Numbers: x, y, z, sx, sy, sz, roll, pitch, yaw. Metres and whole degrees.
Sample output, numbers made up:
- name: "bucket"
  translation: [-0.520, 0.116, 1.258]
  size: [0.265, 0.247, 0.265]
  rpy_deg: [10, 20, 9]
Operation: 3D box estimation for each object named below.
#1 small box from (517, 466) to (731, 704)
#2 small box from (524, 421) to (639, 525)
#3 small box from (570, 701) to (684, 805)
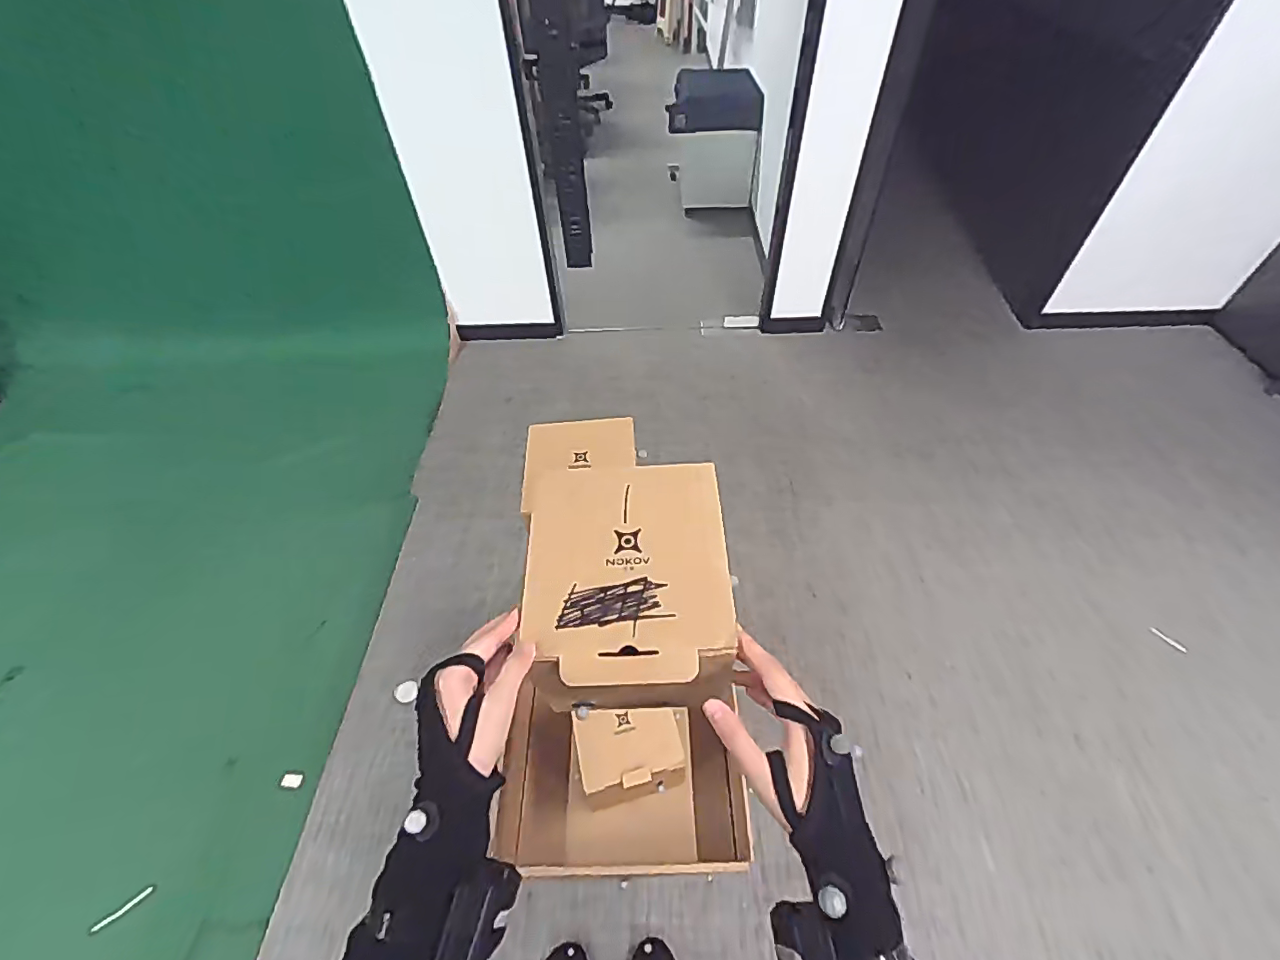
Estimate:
- name: "small box"
  translation: [-0.009, 0.107, 0.515]
  size: [0.168, 0.176, 0.179]
  rpy_deg: [-2, 54, 1]
- name: "small box"
  translation: [-0.081, 0.028, 0.867]
  size: [0.168, 0.176, 0.179]
  rpy_deg: [-4, 51, 1]
- name: "small box"
  translation: [-0.023, 0.449, 0.944]
  size: [0.168, 0.176, 0.179]
  rpy_deg: [-11, 50, -8]
